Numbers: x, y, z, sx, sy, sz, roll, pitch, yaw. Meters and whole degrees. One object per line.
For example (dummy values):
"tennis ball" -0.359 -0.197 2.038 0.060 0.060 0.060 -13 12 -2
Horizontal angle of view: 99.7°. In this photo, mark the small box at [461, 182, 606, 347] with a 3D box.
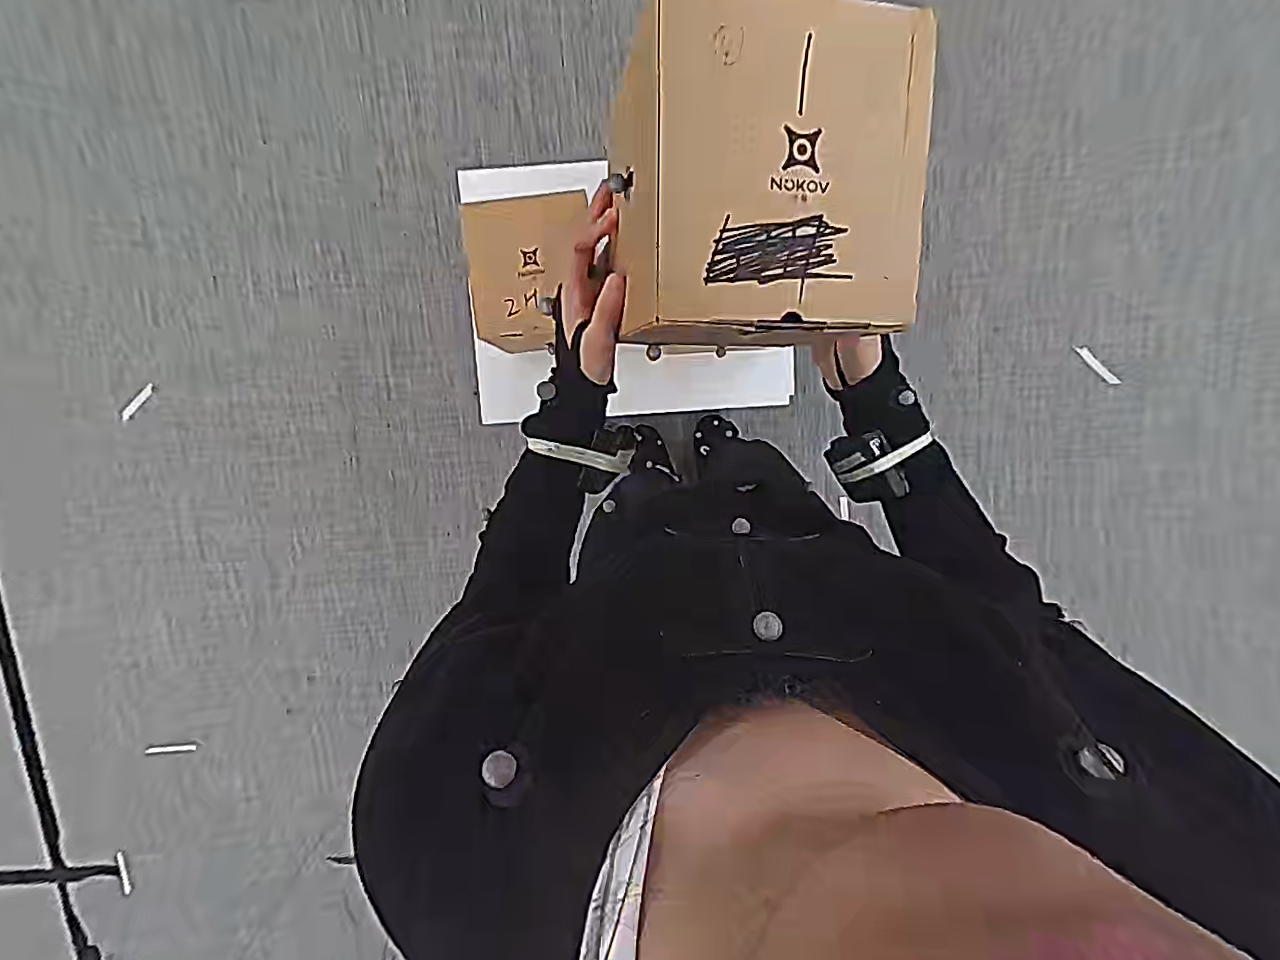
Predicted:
"small box" -0.142 -0.296 0.777 0.168 0.176 0.179 -6 97 1

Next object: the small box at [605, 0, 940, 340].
"small box" 0.070 -0.192 0.376 0.168 0.176 0.179 -3 100 -13
